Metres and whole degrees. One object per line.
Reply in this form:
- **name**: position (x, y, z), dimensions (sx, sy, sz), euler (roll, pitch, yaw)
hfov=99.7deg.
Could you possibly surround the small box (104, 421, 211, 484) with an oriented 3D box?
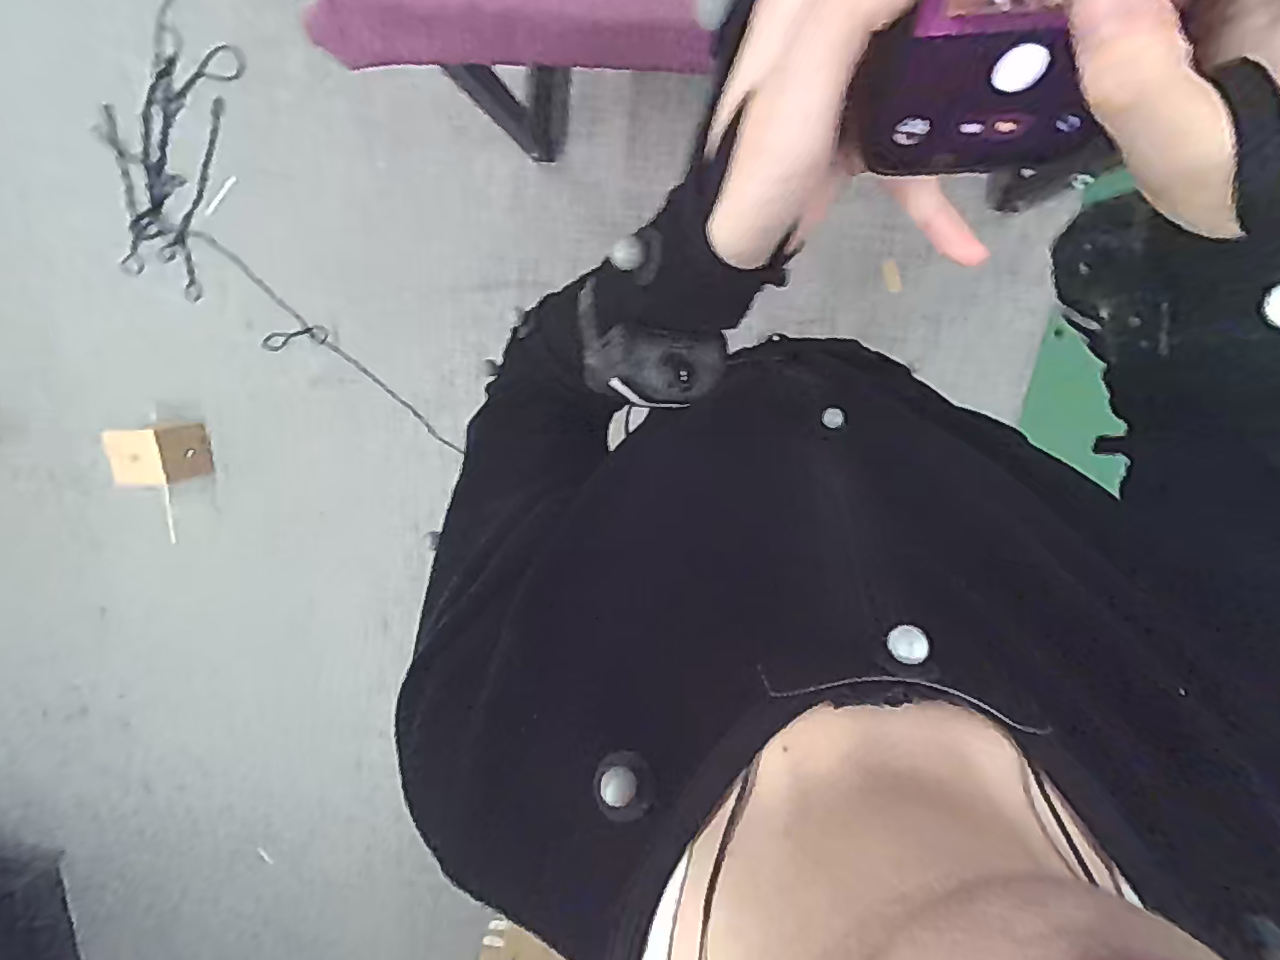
- **small box**: position (-1.454, -0.087, 1.647), dimensions (0.179, 0.176, 0.168), euler (1, 104, 8)
